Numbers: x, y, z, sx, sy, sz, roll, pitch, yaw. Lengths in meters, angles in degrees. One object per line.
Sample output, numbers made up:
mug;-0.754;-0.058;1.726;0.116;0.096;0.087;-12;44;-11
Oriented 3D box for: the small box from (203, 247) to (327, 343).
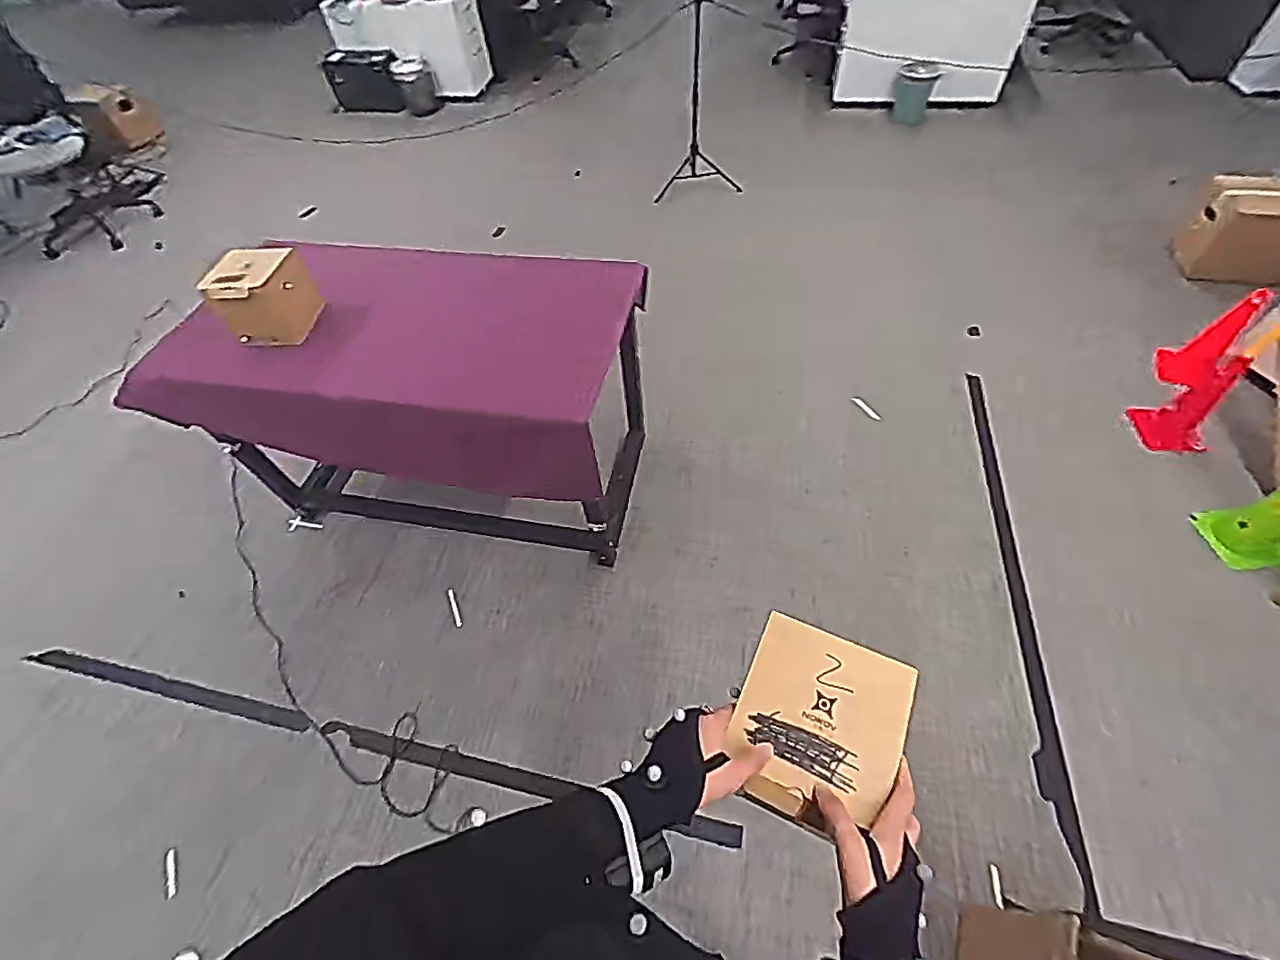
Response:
small box;-0.940;-0.466;1.377;0.168;0.176;0.179;0;53;4
